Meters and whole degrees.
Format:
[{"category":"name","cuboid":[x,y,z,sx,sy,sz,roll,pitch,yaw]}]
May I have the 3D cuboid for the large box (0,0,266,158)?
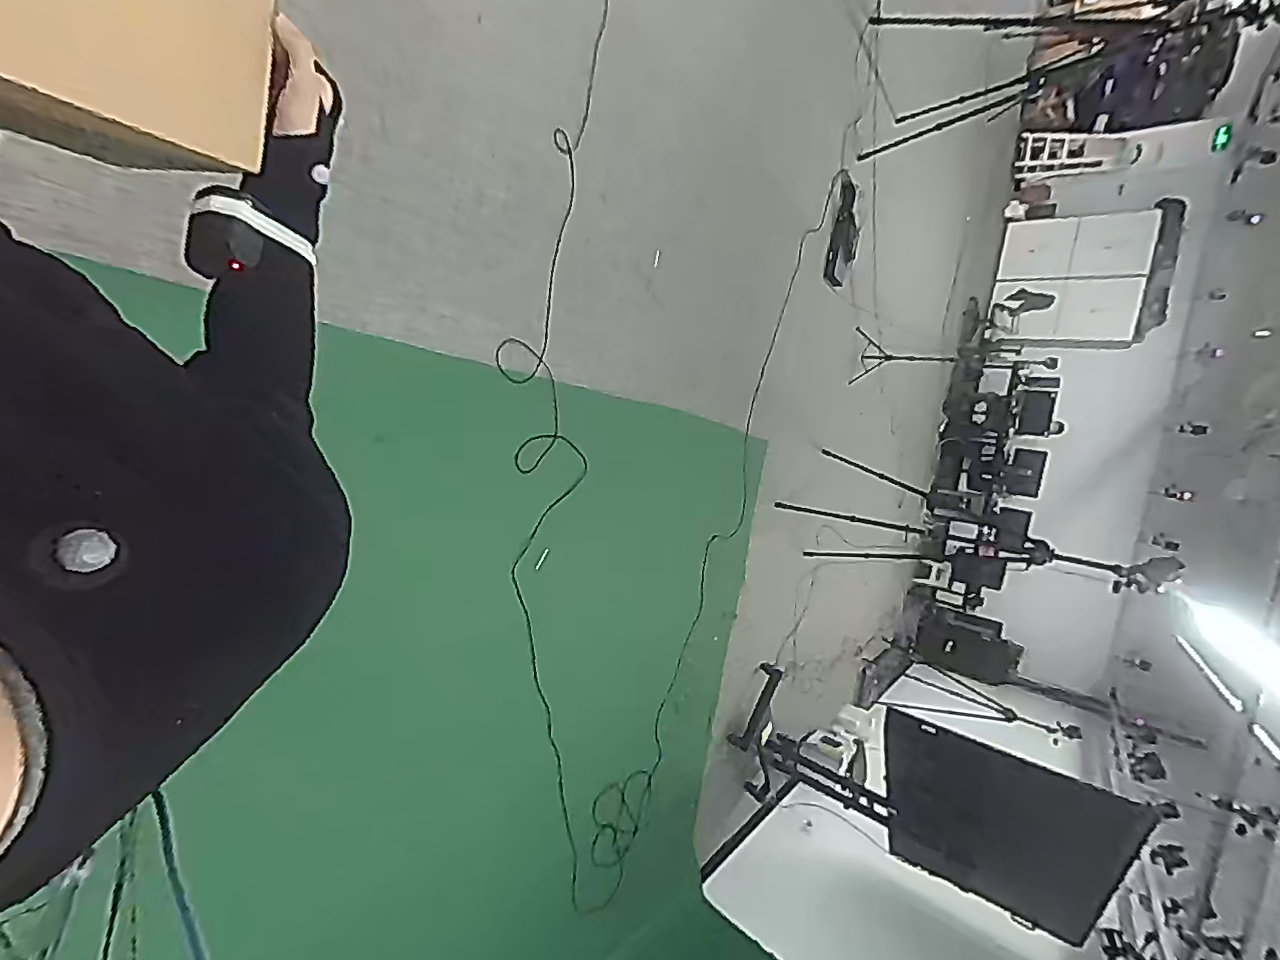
[{"category":"large box","cuboid":[-0.515,-0.445,0.329,0.408,0.320,0.320,-7,114,-57]}]
